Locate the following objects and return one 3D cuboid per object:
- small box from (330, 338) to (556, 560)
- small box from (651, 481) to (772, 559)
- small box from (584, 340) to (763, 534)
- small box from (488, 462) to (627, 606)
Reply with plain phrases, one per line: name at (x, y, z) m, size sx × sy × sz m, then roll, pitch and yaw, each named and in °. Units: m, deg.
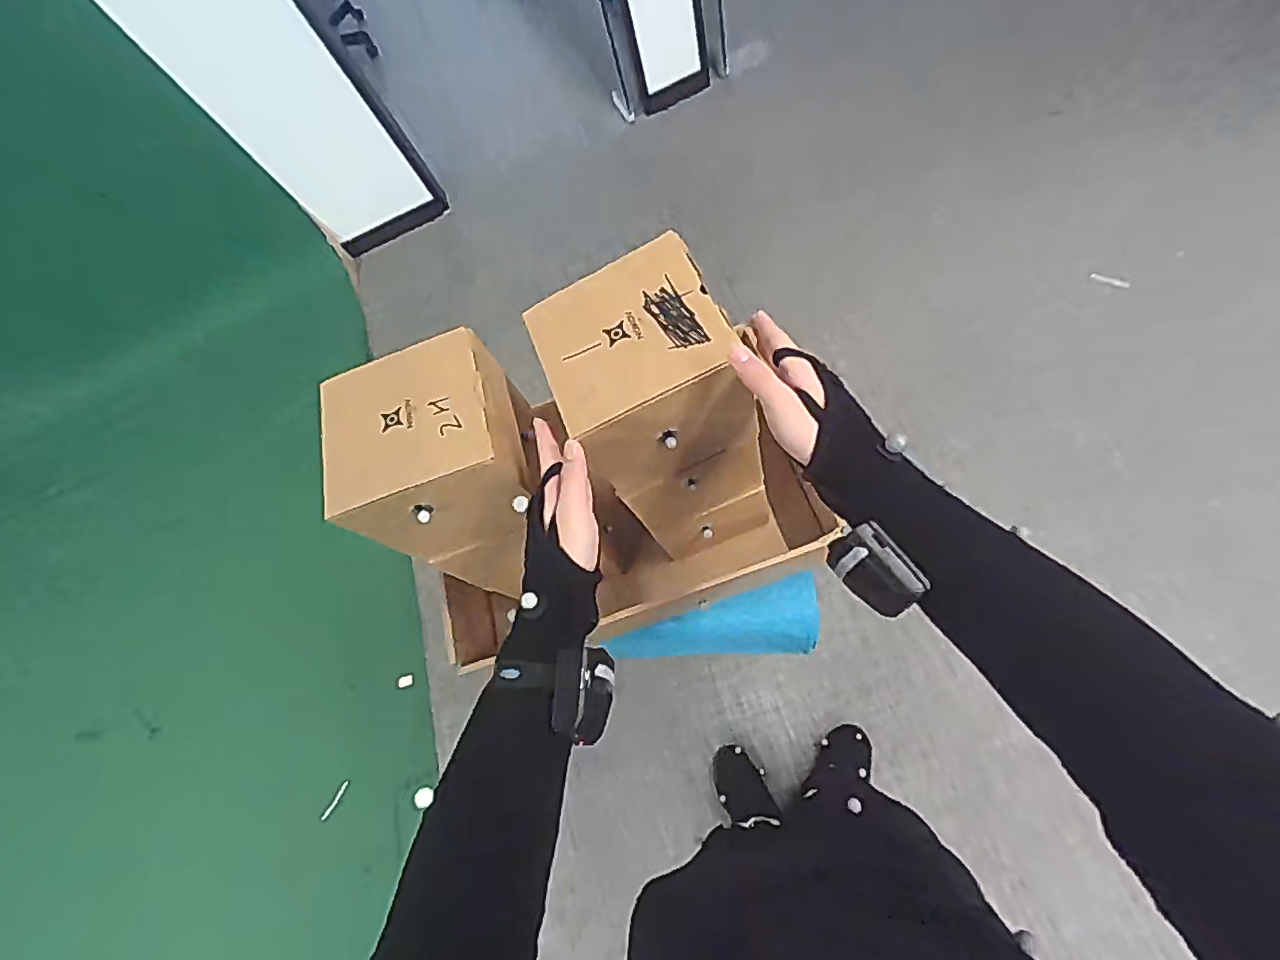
small box at (-0.218, -0.023, 0.617) m, size 0.179 × 0.176 × 0.168 m, roll -19°, pitch 65°, yaw 5°
small box at (0.098, 0.011, 0.876) m, size 0.179 × 0.176 × 0.168 m, roll -25°, pitch 64°, yaw 7°
small box at (0.052, -0.047, 0.731) m, size 0.179 × 0.176 × 0.168 m, roll -26°, pitch 64°, yaw 6°
small box at (-0.140, 0.100, 0.912) m, size 0.179 × 0.176 × 0.168 m, roll -21°, pitch 64°, yaw 5°
